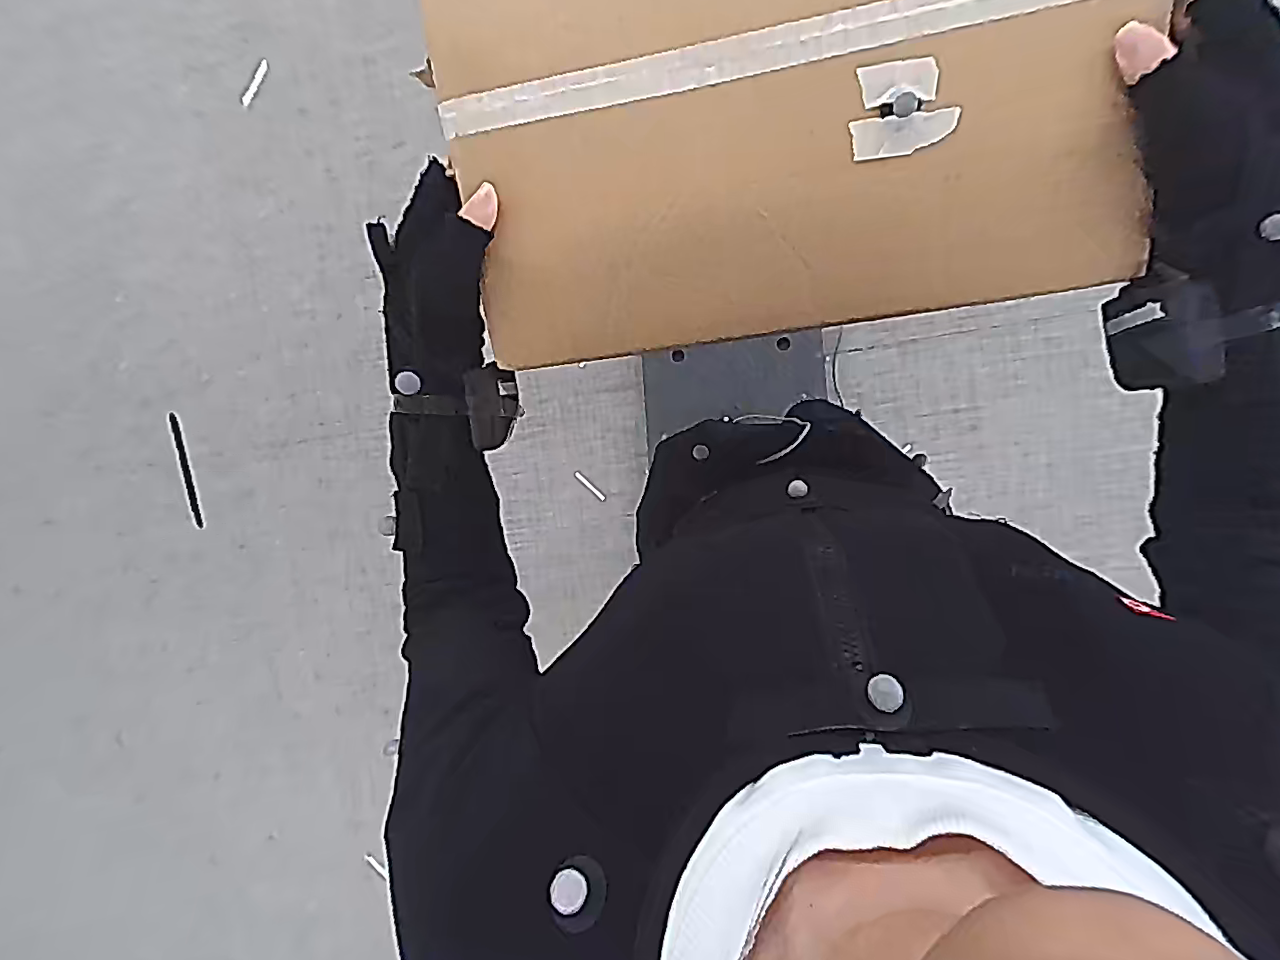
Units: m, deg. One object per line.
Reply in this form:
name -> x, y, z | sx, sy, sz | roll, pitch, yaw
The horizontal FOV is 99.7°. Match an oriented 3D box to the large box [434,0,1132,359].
large box -> 0.090, -0.296, 0.468 | 0.408, 0.320, 0.320 | -7, 105, 7
